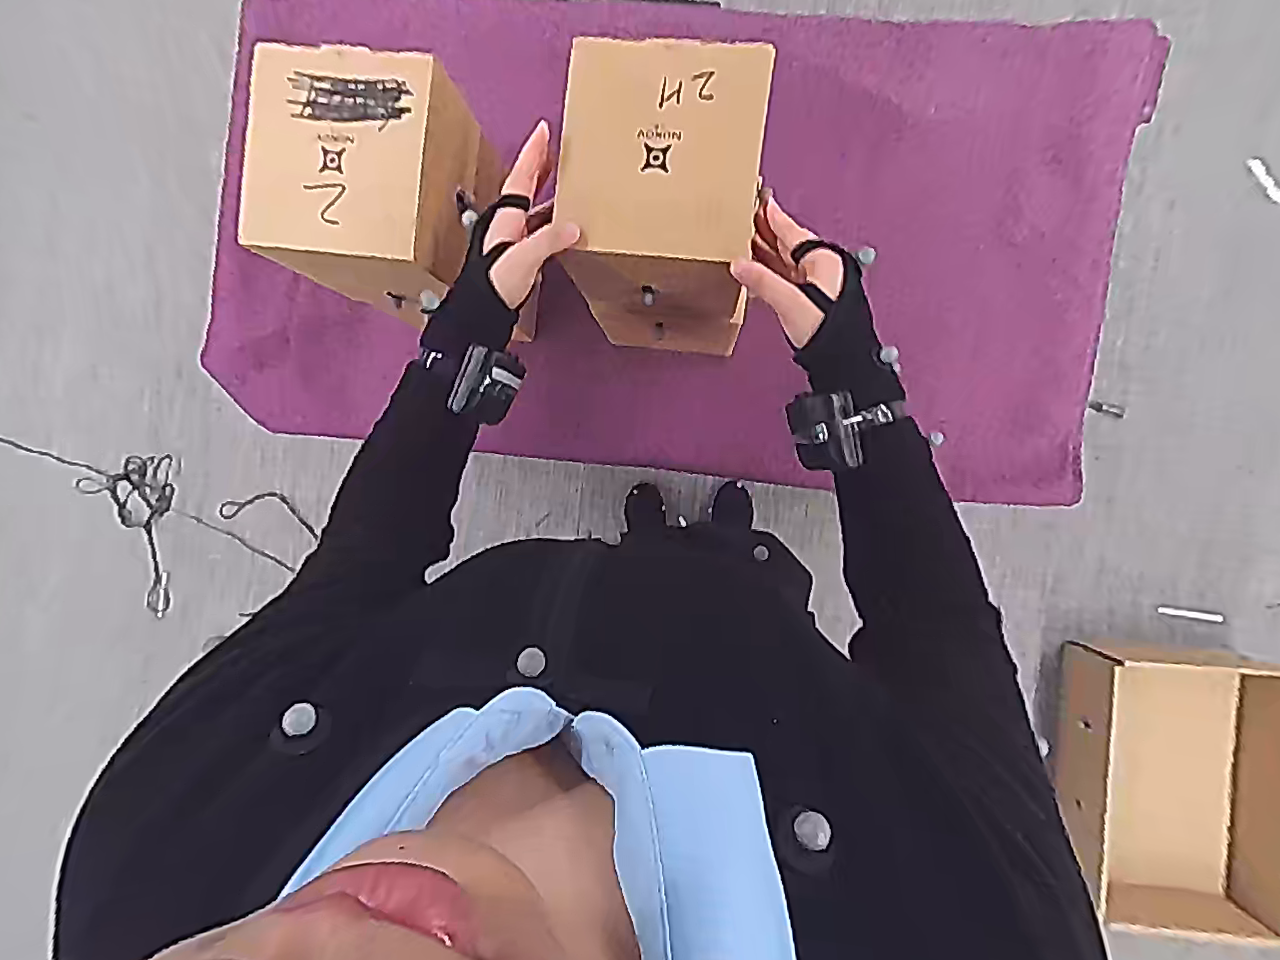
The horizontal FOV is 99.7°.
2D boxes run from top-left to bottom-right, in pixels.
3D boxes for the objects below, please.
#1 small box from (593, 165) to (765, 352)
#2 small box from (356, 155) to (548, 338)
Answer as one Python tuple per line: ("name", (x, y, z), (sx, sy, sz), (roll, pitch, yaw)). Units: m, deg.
("small box", (0.050, -0.265, 0.684), (0.179, 0.176, 0.168), (8, 92, 6))
("small box", (-0.234, -0.292, 0.709), (0.179, 0.176, 0.168), (7, 92, 5))
